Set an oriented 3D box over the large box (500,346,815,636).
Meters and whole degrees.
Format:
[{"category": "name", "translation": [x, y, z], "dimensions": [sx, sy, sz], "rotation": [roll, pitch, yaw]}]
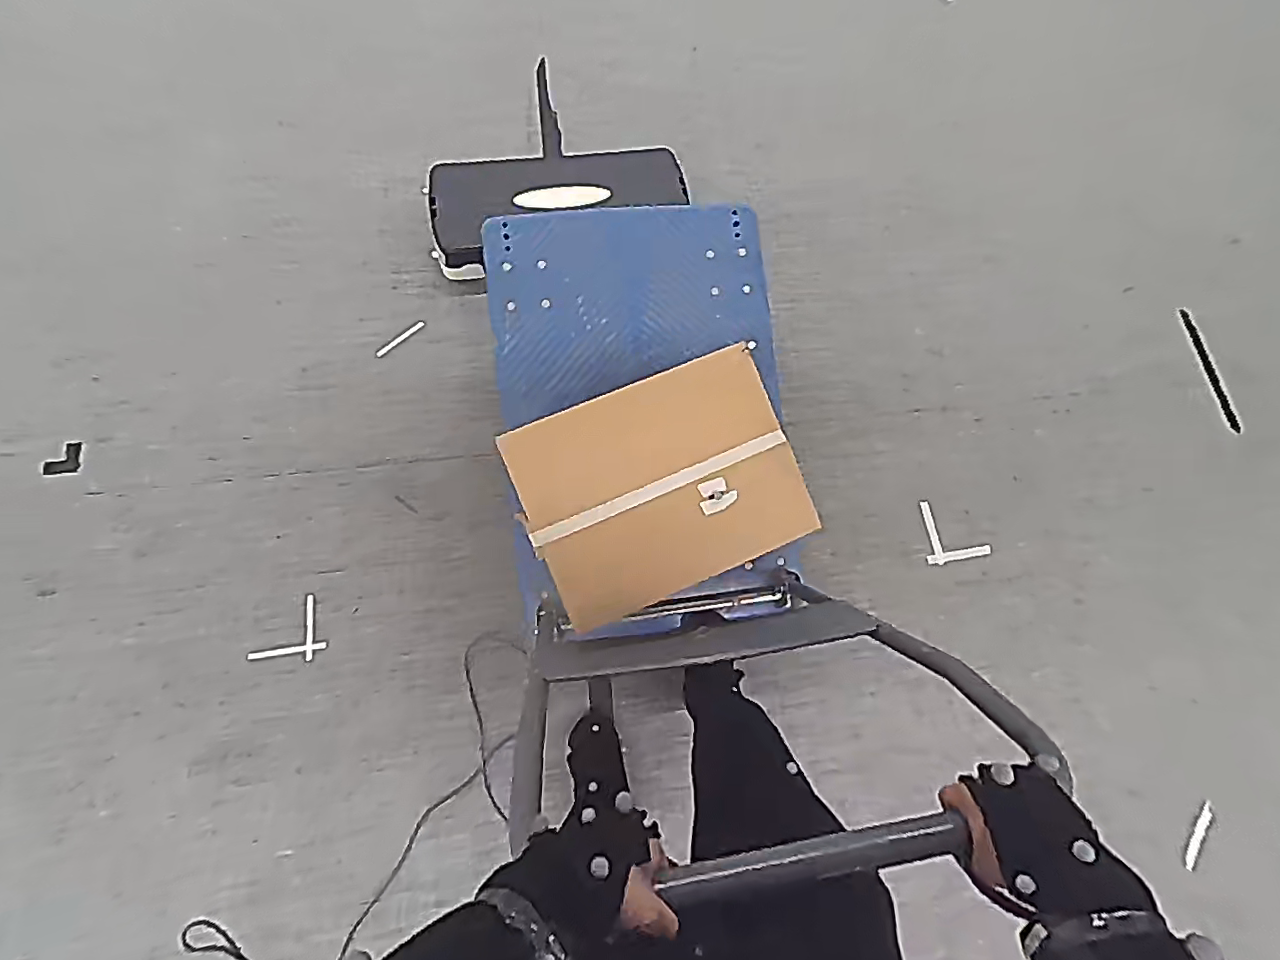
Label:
[{"category": "large box", "translation": [0.013, 0.019, 0.954], "dimensions": [0.408, 0.320, 0.320], "rotation": [-23, 91, -9]}]
